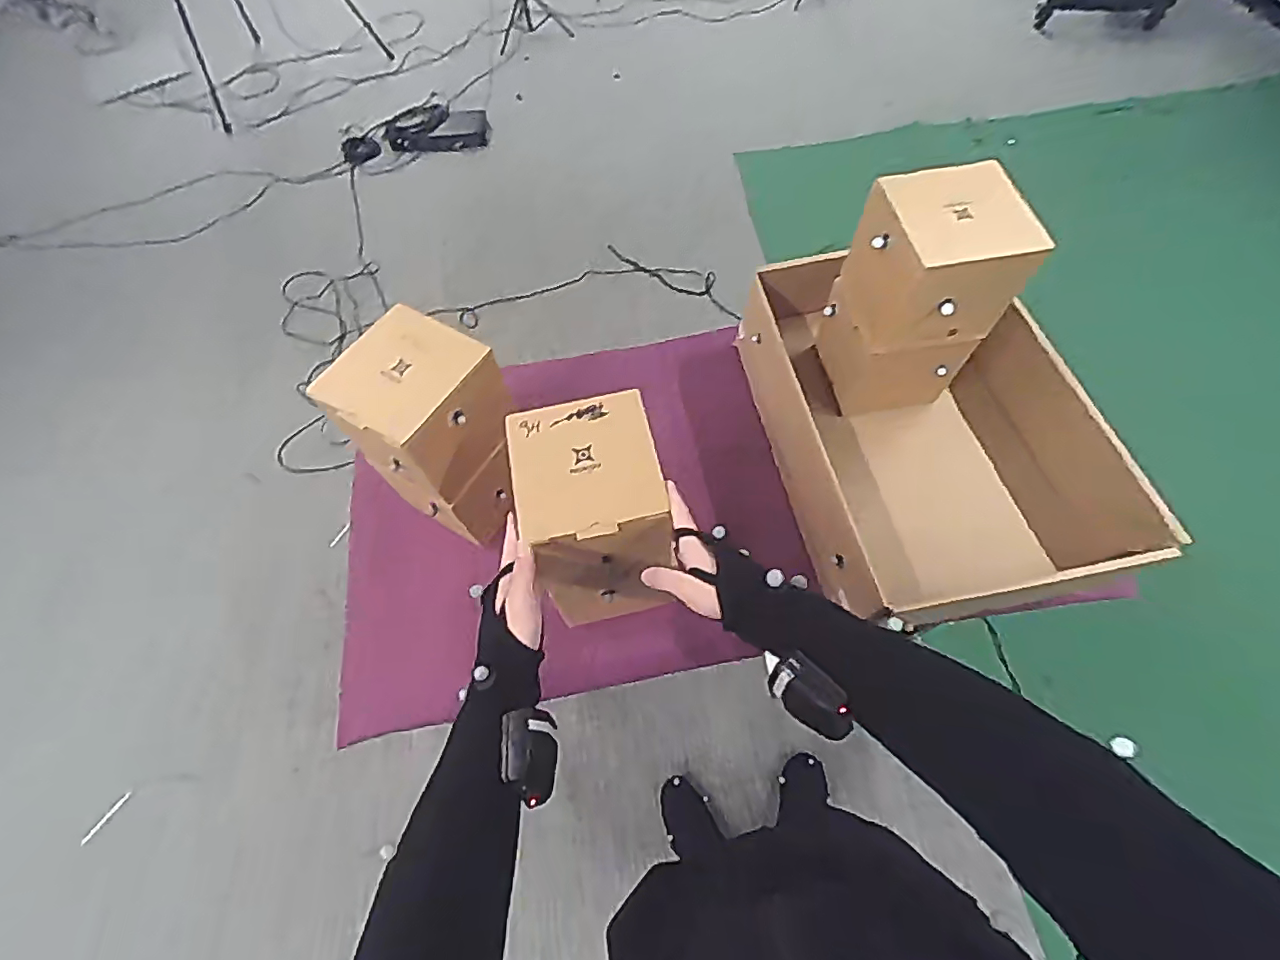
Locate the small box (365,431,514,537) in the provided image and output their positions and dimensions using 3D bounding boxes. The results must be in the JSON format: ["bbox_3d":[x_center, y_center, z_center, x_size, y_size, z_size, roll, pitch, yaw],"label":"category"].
[{"bbox_3d":[-0.301,-0.025,0.896,0.179,0.176,0.168,28,66,16],"label":"small box"}]

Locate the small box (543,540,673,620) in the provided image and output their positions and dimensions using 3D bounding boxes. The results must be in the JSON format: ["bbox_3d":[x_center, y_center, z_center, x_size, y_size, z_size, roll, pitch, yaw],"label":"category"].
[{"bbox_3d":[-0.052,0.100,0.819,0.179,0.176,0.168,-12,62,-5],"label":"small box"}]

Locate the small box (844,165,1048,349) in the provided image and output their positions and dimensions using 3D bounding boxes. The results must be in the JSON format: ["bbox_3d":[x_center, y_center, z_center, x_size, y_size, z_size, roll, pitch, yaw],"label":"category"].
[{"bbox_3d":[0.414,-0.304,0.768,0.168,0.176,0.179,-9,63,-1],"label":"small box"}]

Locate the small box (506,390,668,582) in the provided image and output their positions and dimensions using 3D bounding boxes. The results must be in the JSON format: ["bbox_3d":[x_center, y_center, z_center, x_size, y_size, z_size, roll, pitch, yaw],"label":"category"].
[{"bbox_3d":[-0.060,0.018,0.678,0.168,0.176,0.179,-12,62,-4],"label":"small box"}]

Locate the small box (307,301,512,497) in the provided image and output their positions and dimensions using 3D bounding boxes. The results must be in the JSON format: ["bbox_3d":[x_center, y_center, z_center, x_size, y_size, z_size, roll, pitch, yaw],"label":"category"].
[{"bbox_3d":[-0.302,-0.105,0.754,0.168,0.176,0.179,29,67,15],"label":"small box"}]
